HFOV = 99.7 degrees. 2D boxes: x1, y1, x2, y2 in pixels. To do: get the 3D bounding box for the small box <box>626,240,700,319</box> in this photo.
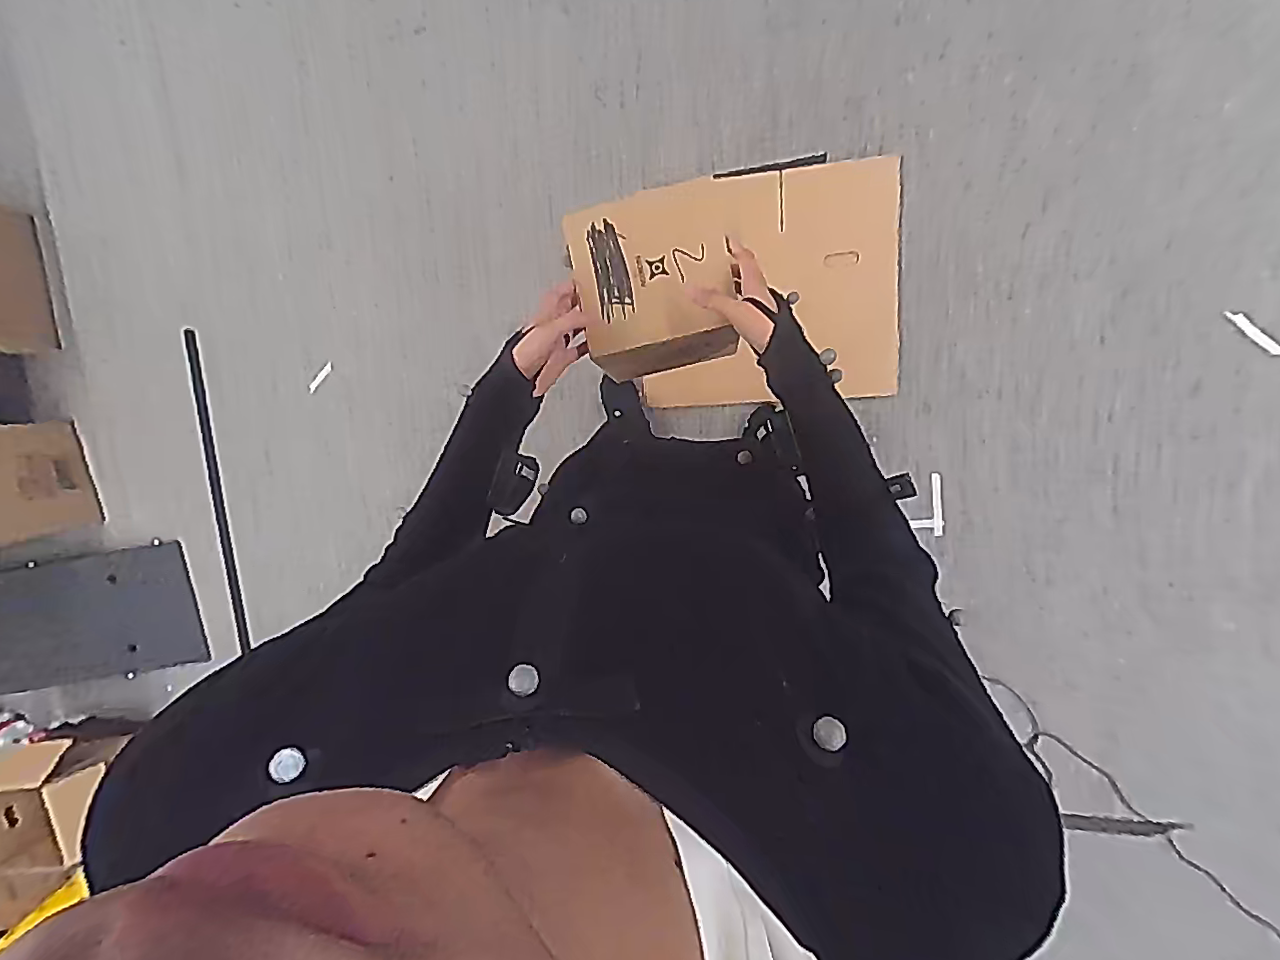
[{"bbox_3d":[0.069,-0.535,1.460,0.179,0.176,0.168,-1,98,14],"label":"small box"}]
